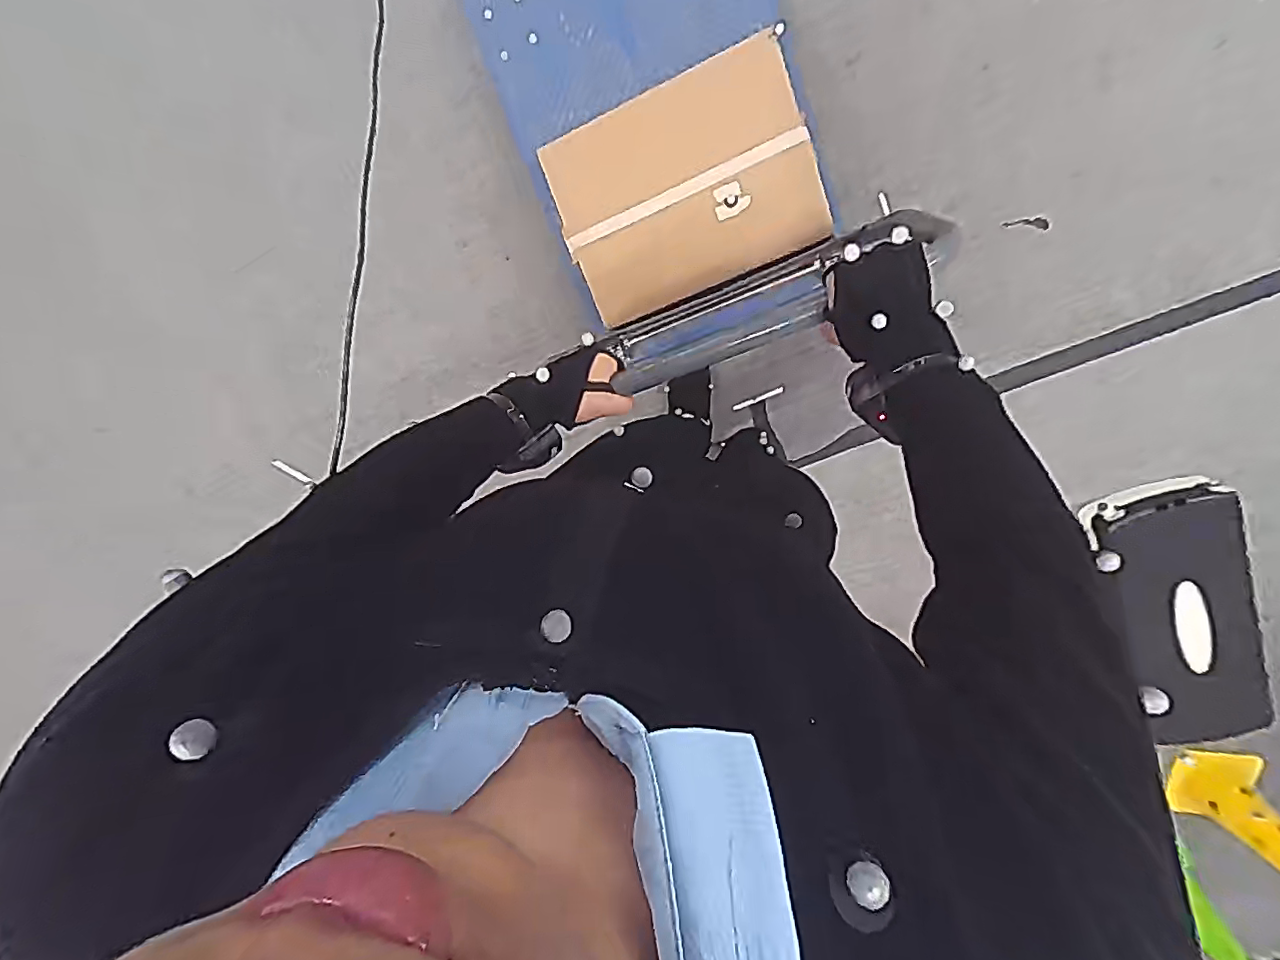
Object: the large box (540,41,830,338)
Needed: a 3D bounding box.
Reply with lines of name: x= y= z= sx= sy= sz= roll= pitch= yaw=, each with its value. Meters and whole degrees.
large box: x=0.088 y=-0.488 z=1.018 sx=0.408 sy=0.320 sz=0.320 roll=-19 pitch=101 yaw=13
